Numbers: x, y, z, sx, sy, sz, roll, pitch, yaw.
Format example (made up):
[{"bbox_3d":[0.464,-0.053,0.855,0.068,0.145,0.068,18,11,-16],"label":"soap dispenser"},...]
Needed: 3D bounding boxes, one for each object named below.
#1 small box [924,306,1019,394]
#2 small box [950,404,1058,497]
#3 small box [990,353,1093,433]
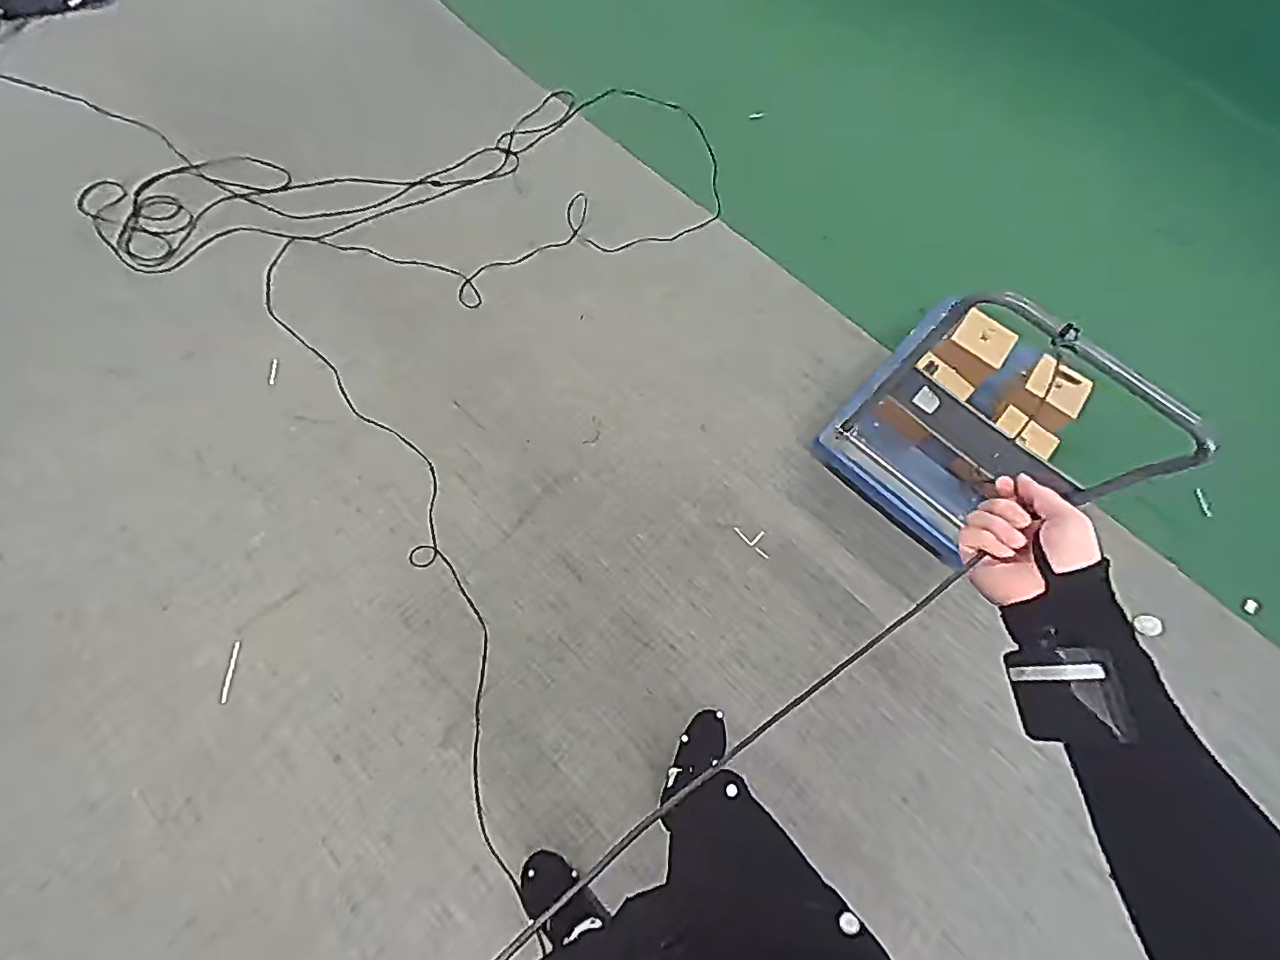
[{"bbox_3d":[1.045,-0.408,1.722,0.168,0.176,0.179,40,67,9],"label":"small box"},{"bbox_3d":[1.053,-0.082,1.579,0.168,0.176,0.179,44,69,12],"label":"small box"},{"bbox_3d":[1.238,-0.252,1.679,0.168,0.176,0.179,39,68,11],"label":"small box"}]
